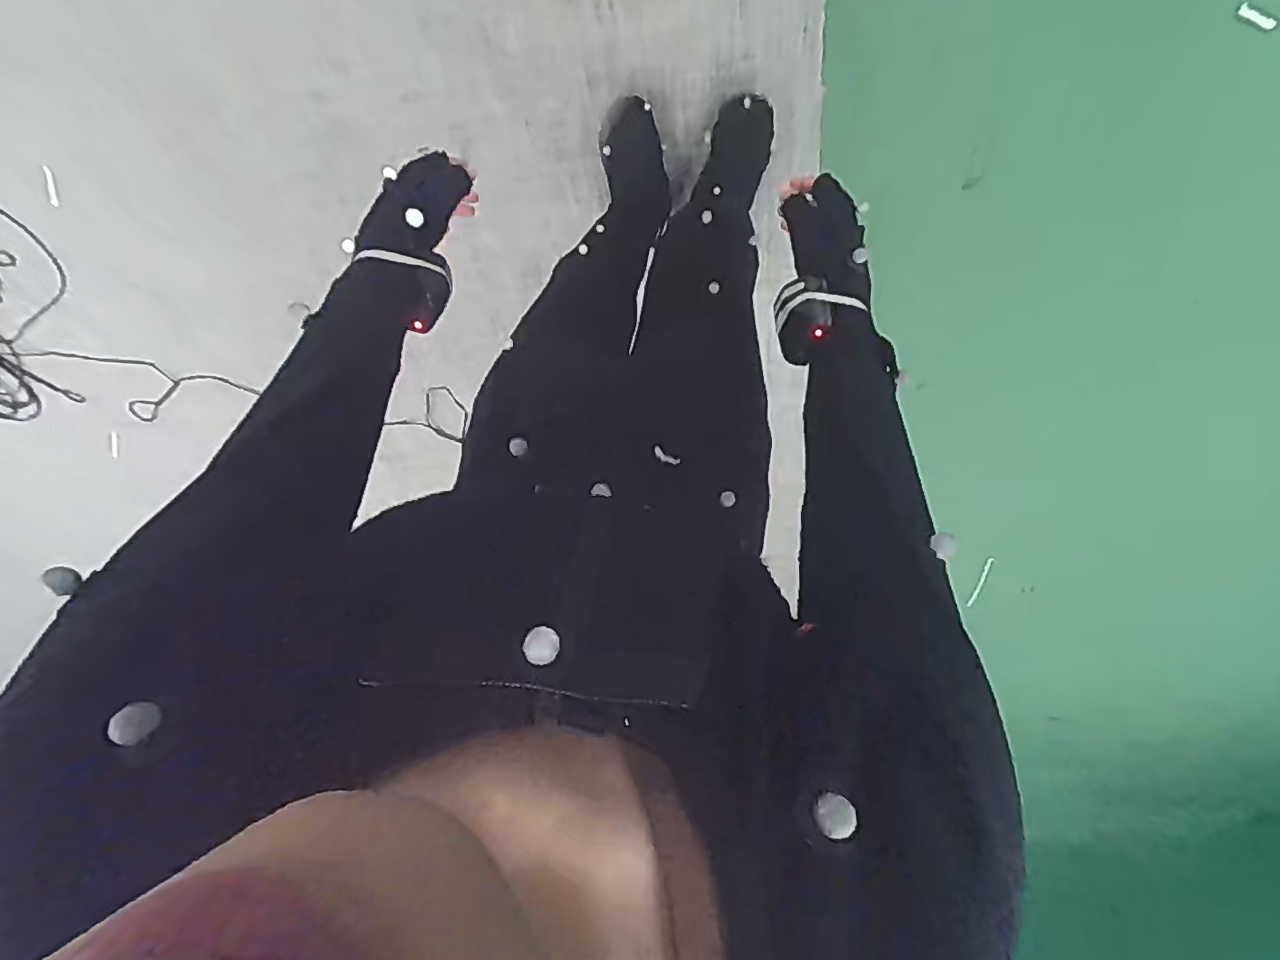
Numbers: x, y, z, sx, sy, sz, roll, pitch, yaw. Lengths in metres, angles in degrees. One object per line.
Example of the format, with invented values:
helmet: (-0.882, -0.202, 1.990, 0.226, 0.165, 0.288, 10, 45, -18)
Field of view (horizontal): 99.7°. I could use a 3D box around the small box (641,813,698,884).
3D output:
small box: (0.106, 1.249, 1.831, 0.168, 0.176, 0.179, -7, 134, 11)
